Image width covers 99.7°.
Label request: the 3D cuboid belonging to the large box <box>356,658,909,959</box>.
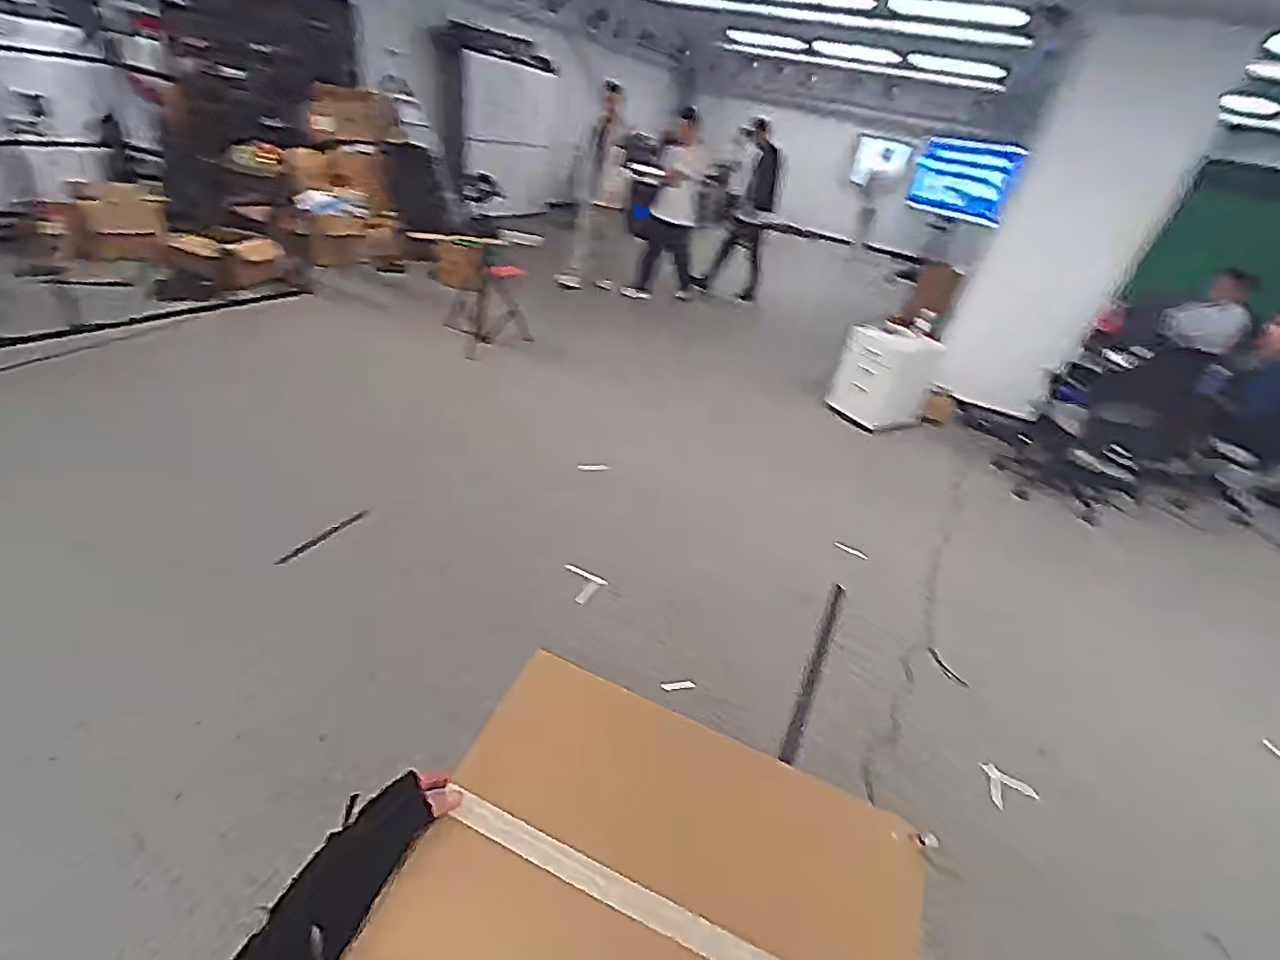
[{"bbox_3d":[-0.005,0.456,0.543,0.408,0.320,0.320,21,44,11],"label":"large box"}]
